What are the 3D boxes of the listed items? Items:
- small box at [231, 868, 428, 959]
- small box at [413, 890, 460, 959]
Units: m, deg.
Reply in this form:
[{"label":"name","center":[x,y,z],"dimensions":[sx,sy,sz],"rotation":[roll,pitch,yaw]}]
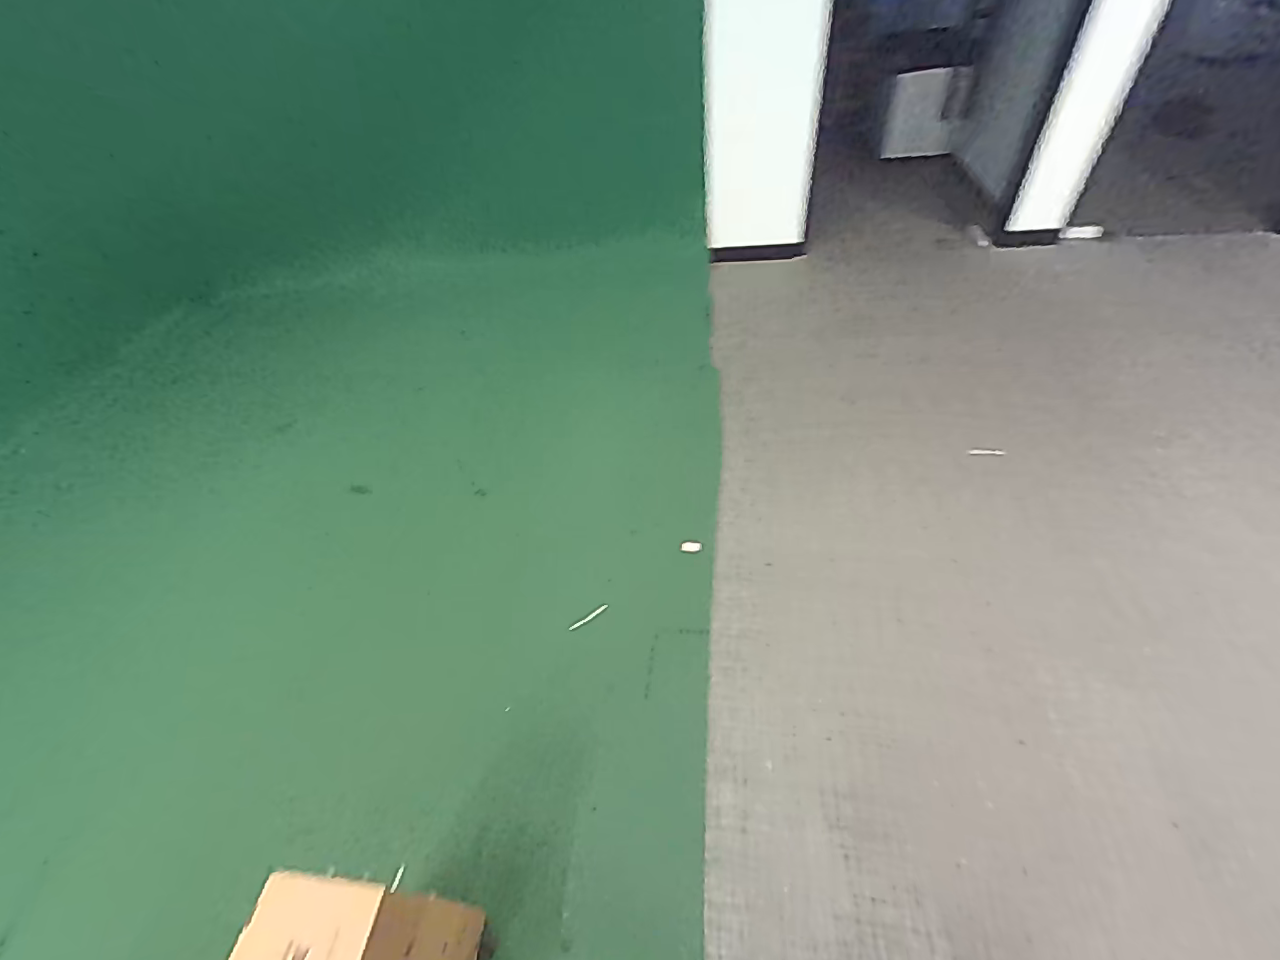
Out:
[{"label":"small box","center":[-0.428,0.654,0.745],"dimensions":[0.179,0.176,0.168],"rotation":[1,50,8]},{"label":"small box","center":[-0.417,0.758,0.870],"dimensions":[0.179,0.176,0.168],"rotation":[2,49,10]}]
